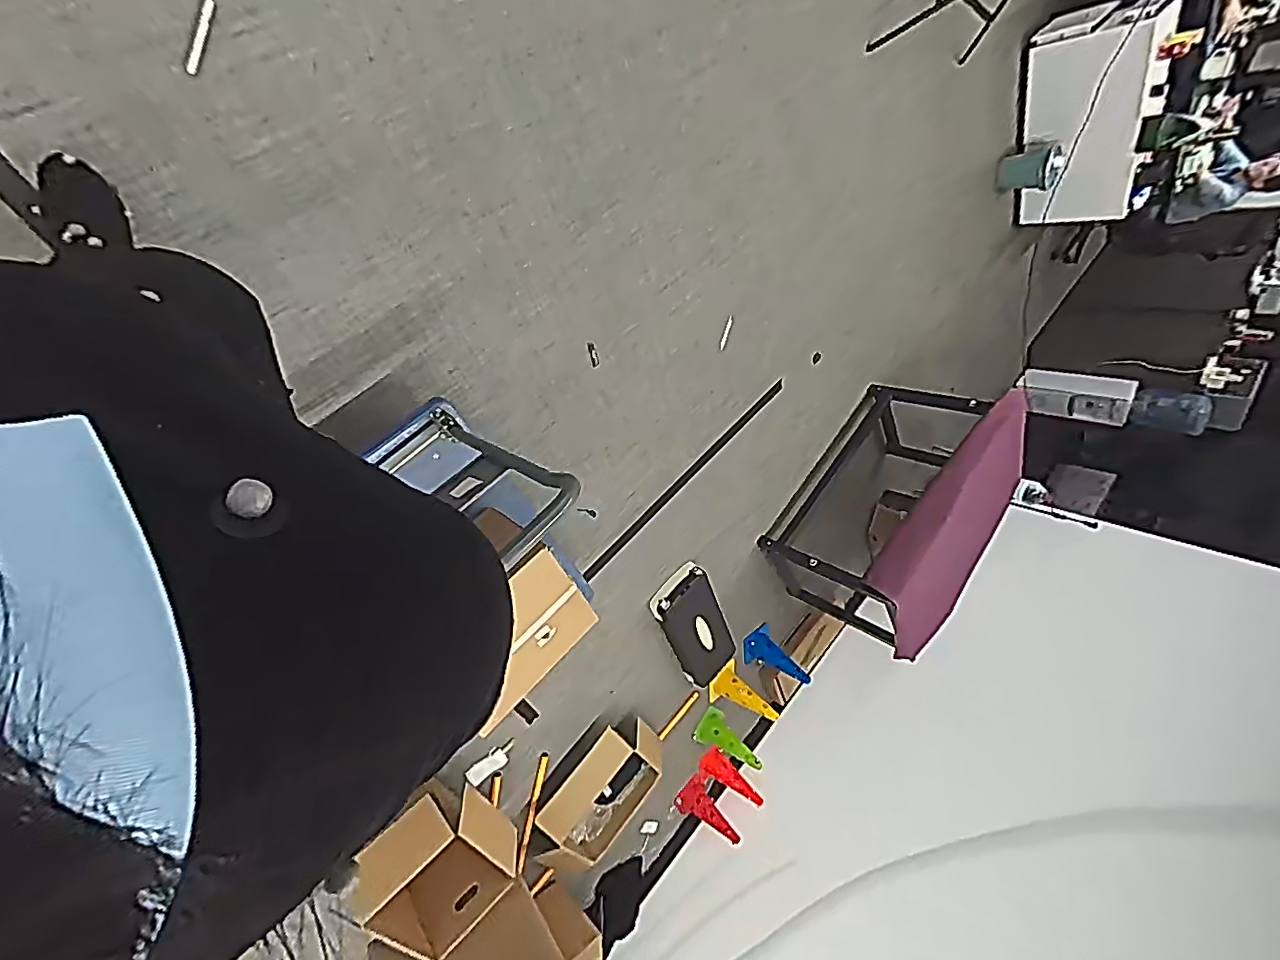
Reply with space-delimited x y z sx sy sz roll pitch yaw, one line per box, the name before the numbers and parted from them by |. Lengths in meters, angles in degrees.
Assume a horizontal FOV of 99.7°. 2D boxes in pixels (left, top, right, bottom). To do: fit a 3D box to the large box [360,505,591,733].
large box | -0.411 0.336 1.382 0.408 0.320 0.320 -44 131 -22
